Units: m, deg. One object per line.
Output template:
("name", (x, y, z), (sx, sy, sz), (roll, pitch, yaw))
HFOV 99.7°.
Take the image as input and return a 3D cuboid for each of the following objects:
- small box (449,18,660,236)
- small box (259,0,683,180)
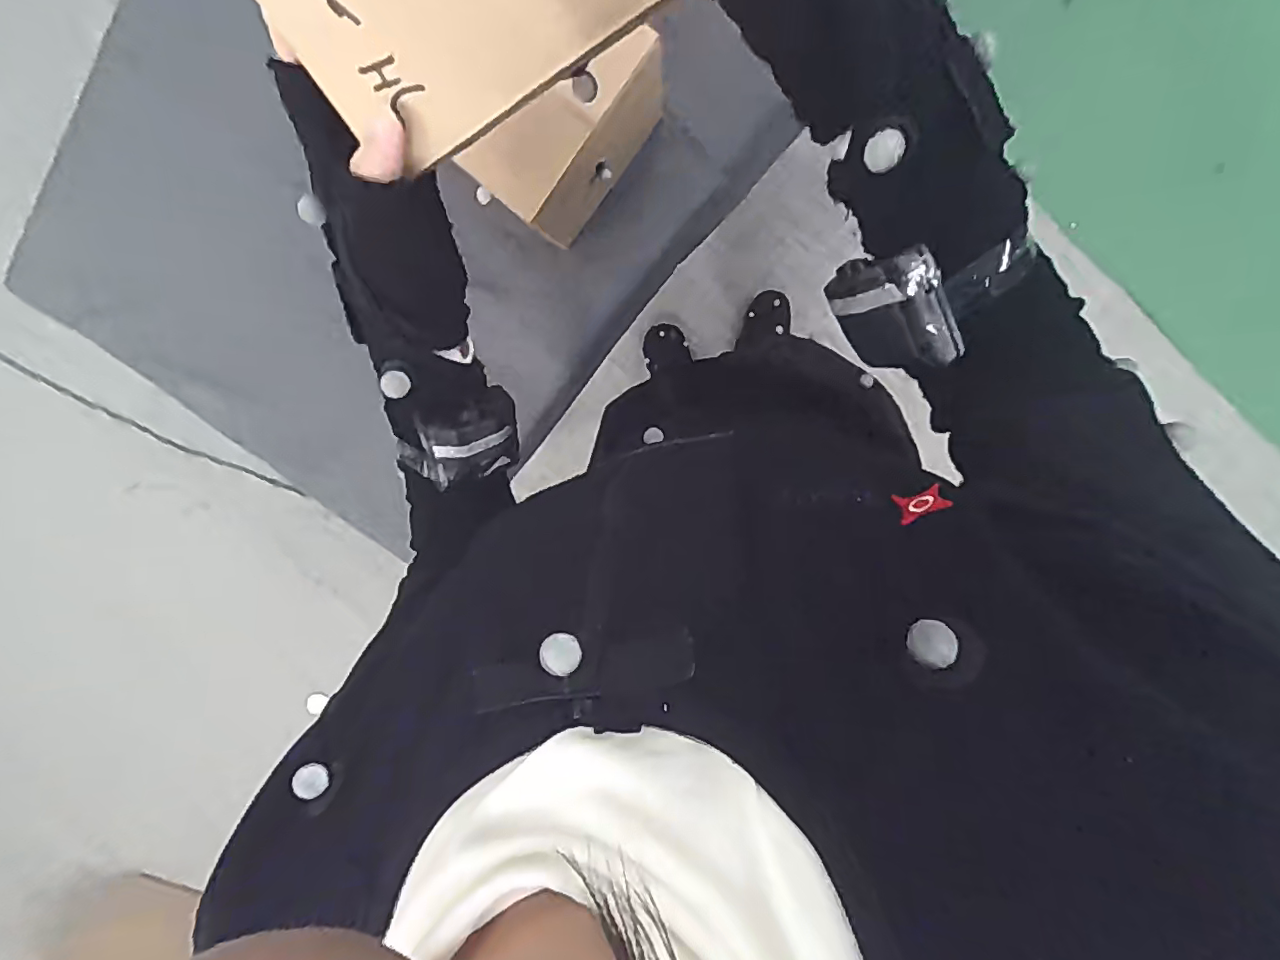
("small box", (-0.098, -0.363, 0.508), (0.168, 0.176, 0.179), (36, 104, -8))
("small box", (-0.077, -0.274, 0.243), (0.179, 0.176, 0.168), (-22, 126, 16))
